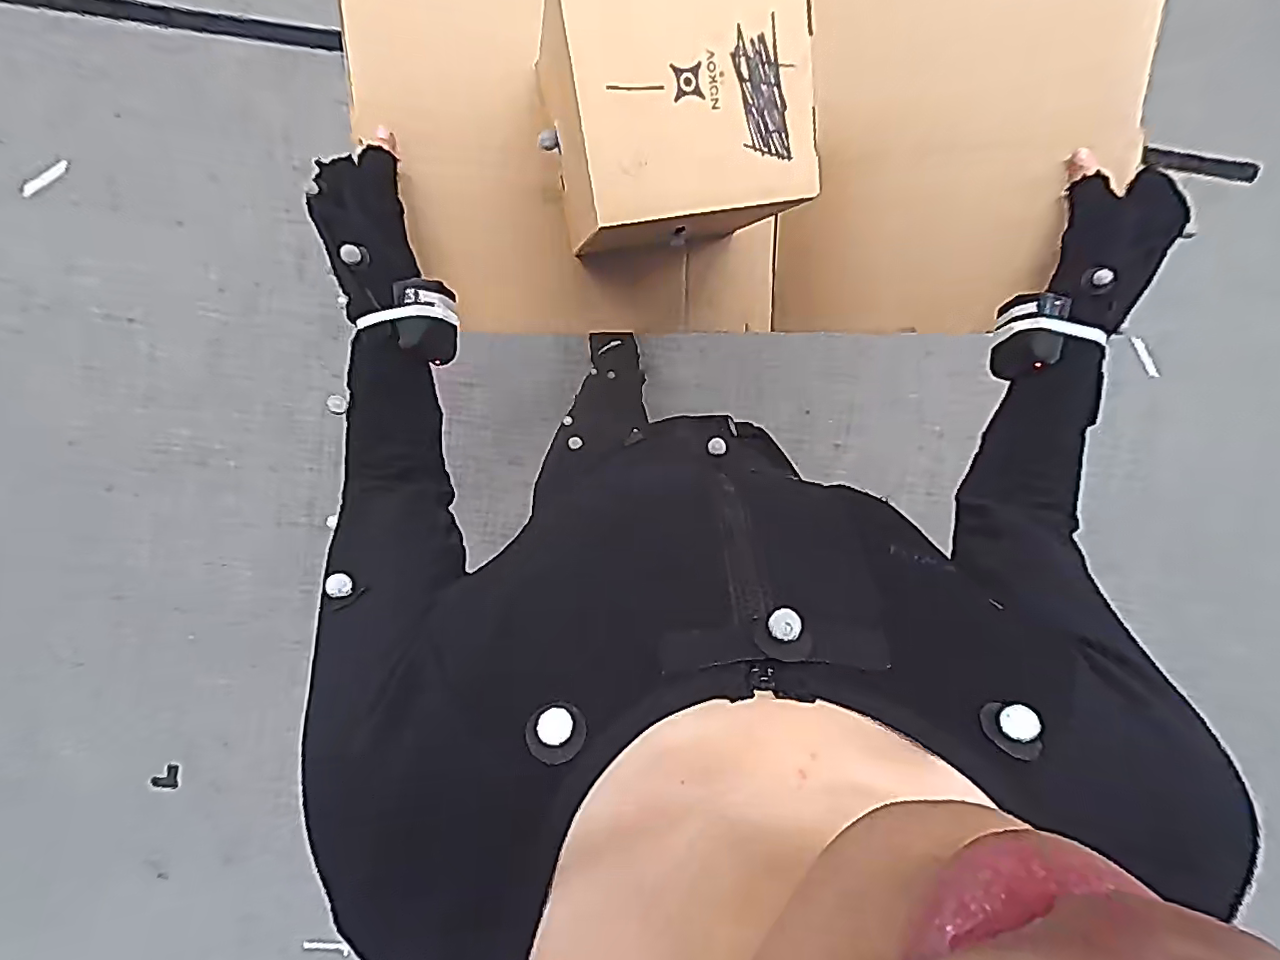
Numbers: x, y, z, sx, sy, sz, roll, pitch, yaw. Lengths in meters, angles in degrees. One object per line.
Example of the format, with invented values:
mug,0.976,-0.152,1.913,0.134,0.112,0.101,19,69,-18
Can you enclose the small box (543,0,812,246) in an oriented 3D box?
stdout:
small box,0.022,-0.306,0.458,0.179,0.176,0.168,-13,108,-9
